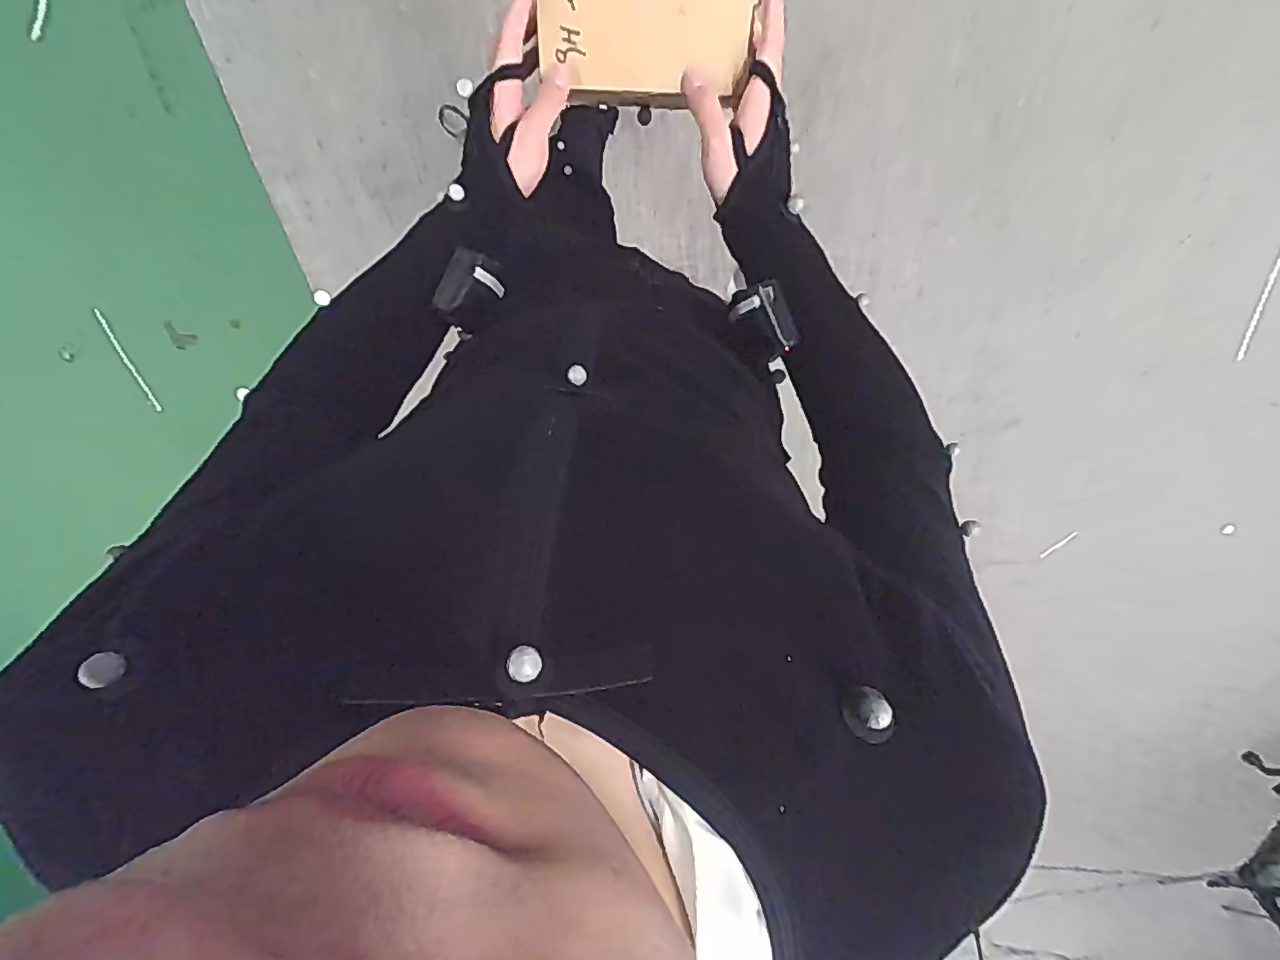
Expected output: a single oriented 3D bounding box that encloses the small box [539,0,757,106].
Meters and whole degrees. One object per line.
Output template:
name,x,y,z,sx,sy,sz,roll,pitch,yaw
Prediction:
small box,0.008,-0.442,0.482,0.179,0.176,0.168,3,121,-1
